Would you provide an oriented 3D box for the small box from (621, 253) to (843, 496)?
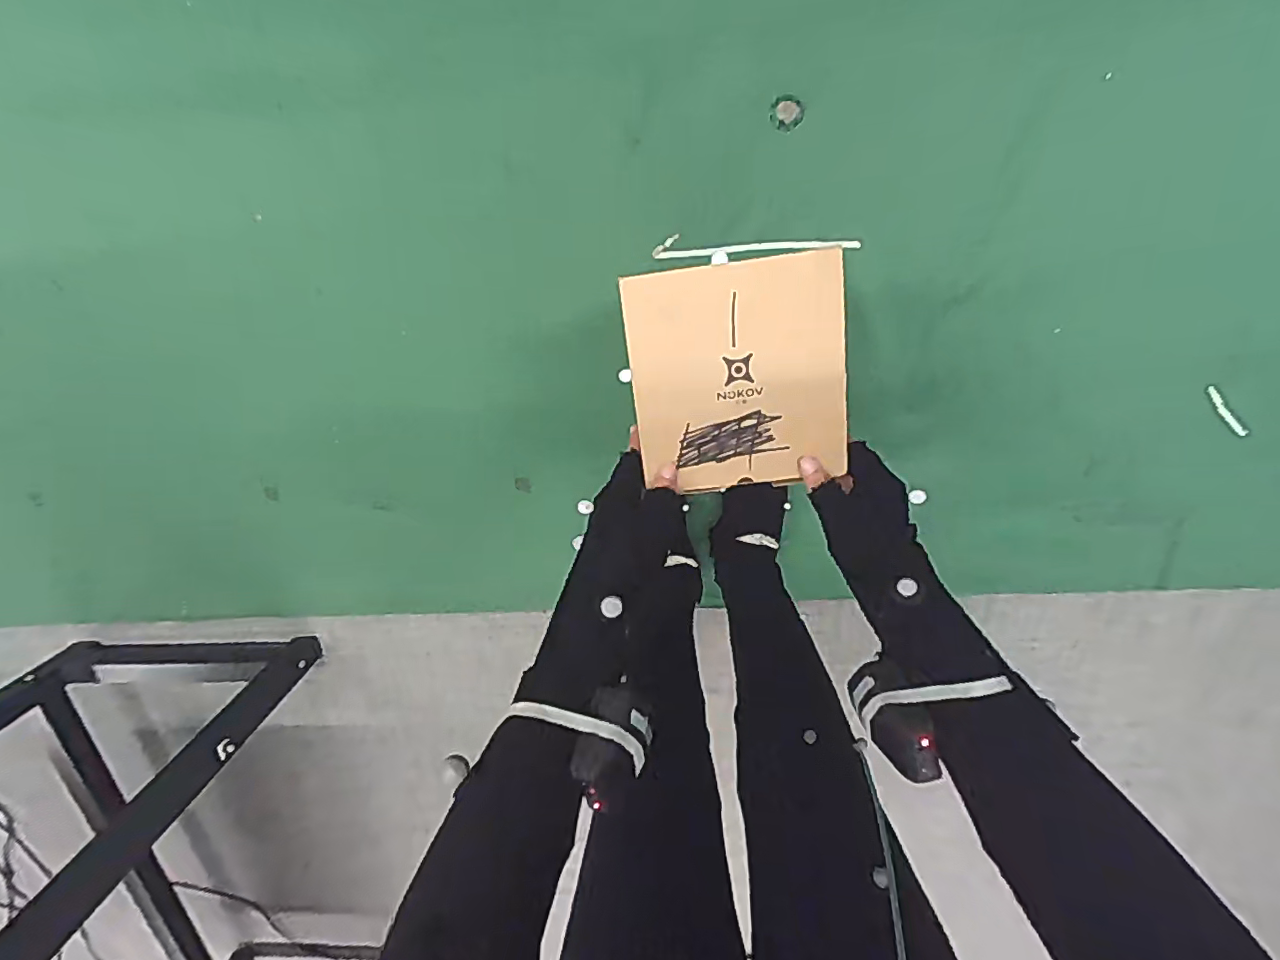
[{"bbox_3d":[0.079,-0.098,0.500,0.168,0.176,0.179,-6,105,4],"label":"small box"}]
